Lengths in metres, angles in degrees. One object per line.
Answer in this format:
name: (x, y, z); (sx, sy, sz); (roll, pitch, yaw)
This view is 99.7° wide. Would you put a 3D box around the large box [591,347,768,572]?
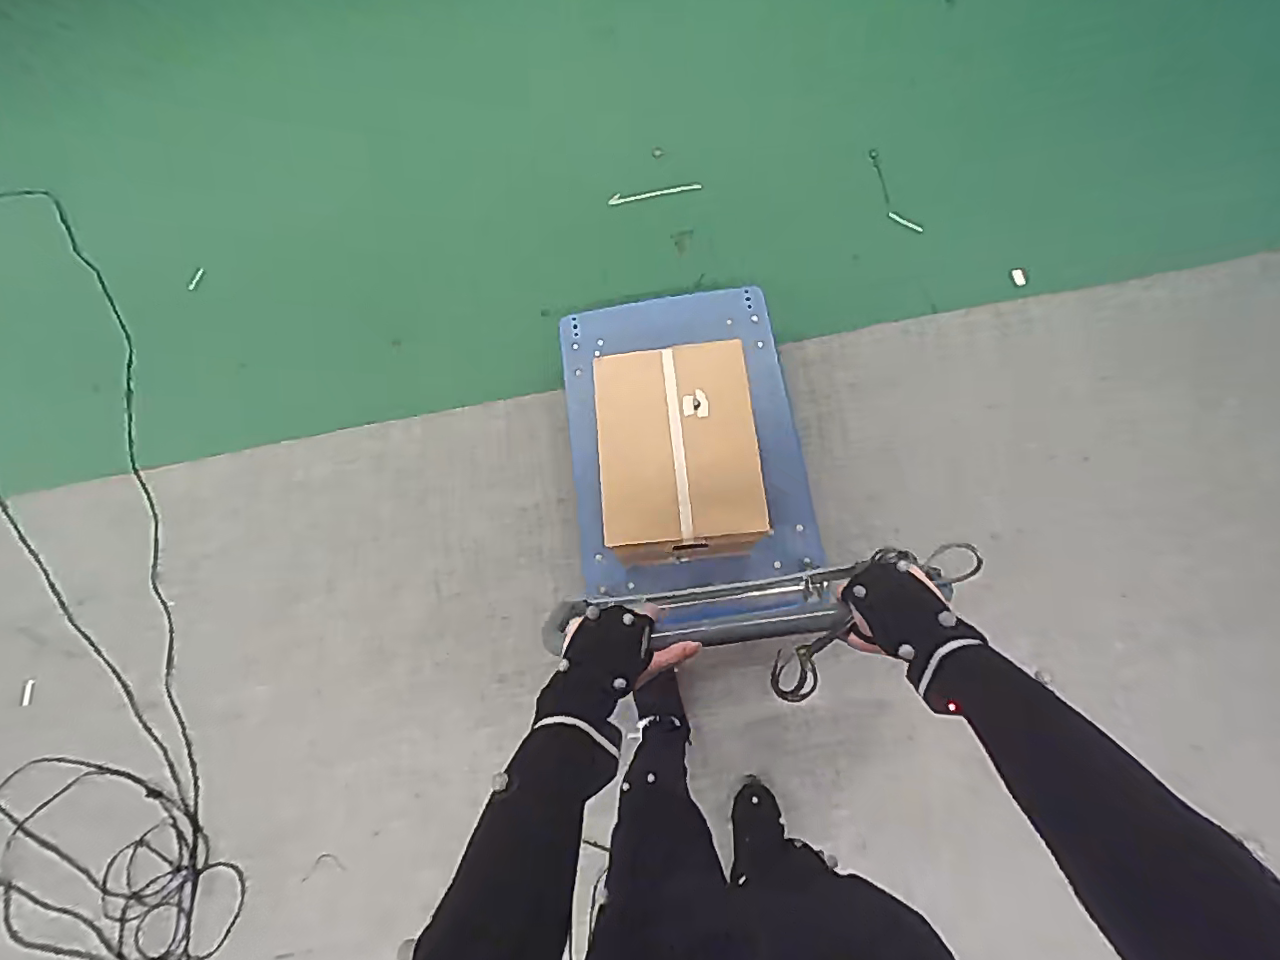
large box: (0.083, -0.027, 1.212); (0.320, 0.320, 0.408); (-6, 73, 3)
